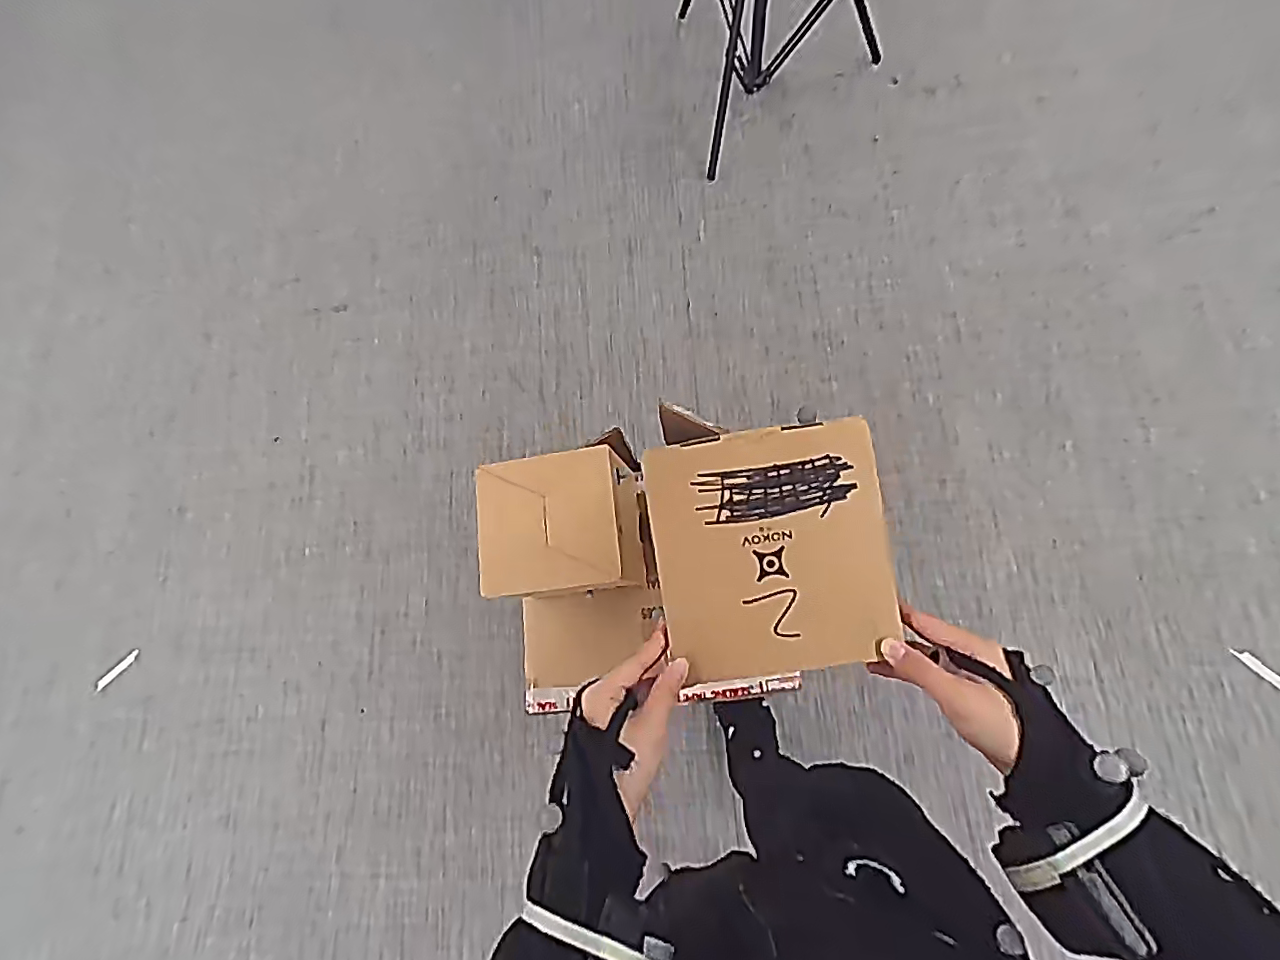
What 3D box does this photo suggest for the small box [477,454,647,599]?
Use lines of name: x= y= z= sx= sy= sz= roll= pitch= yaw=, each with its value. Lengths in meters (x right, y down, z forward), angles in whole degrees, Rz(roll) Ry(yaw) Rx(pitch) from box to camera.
small box: x=-0.097 y=0.069 z=0.731 sx=0.179 sy=0.176 sz=0.168 roll=-8 pitch=77 yaw=8
